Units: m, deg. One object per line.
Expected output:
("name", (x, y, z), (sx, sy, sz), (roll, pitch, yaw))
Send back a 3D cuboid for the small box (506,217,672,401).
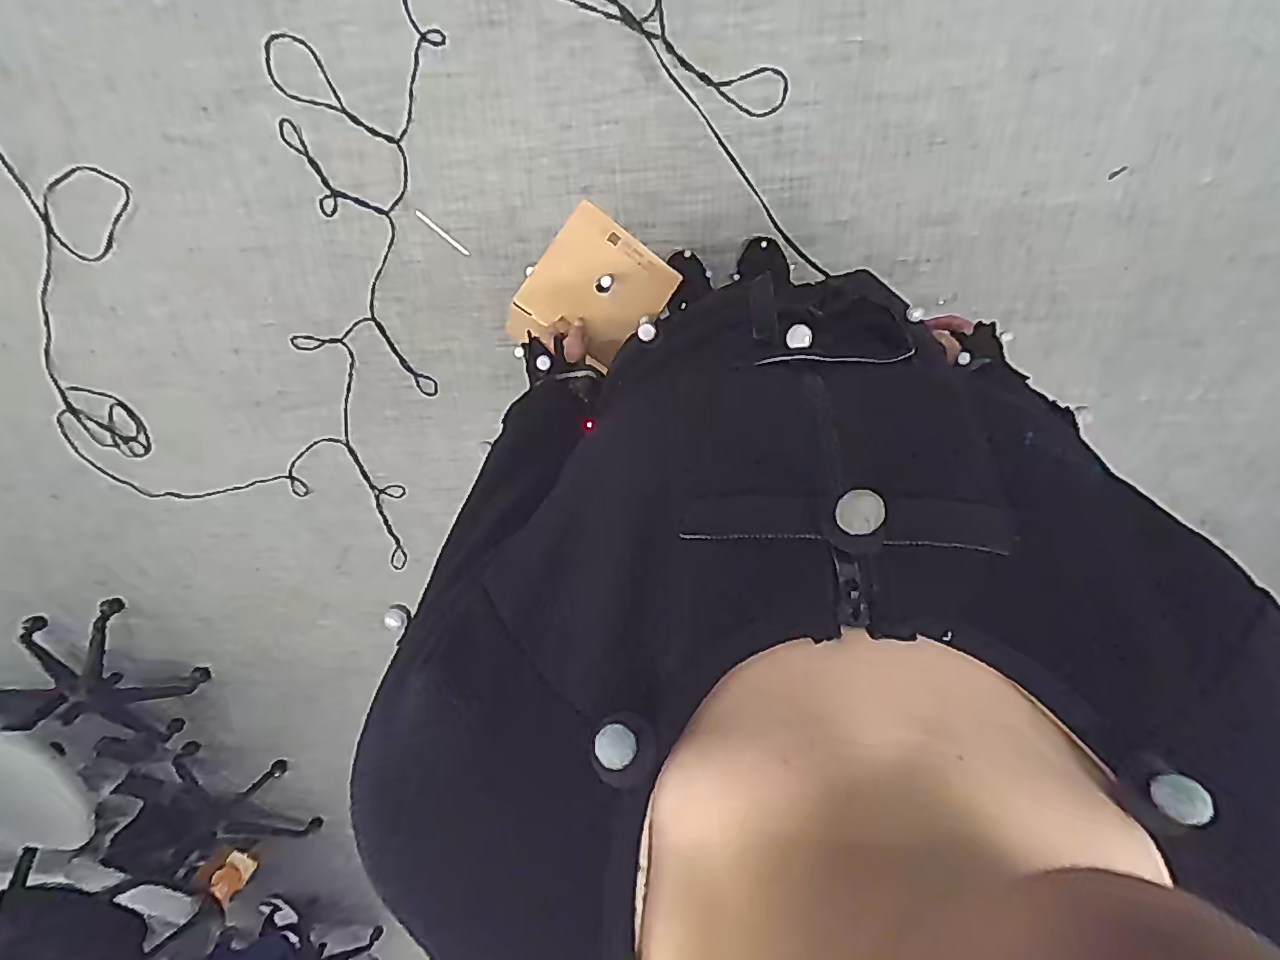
("small box", (-0.076, -0.239, 0.787), (0.168, 0.179, 0.176), (33, 81, -14))
